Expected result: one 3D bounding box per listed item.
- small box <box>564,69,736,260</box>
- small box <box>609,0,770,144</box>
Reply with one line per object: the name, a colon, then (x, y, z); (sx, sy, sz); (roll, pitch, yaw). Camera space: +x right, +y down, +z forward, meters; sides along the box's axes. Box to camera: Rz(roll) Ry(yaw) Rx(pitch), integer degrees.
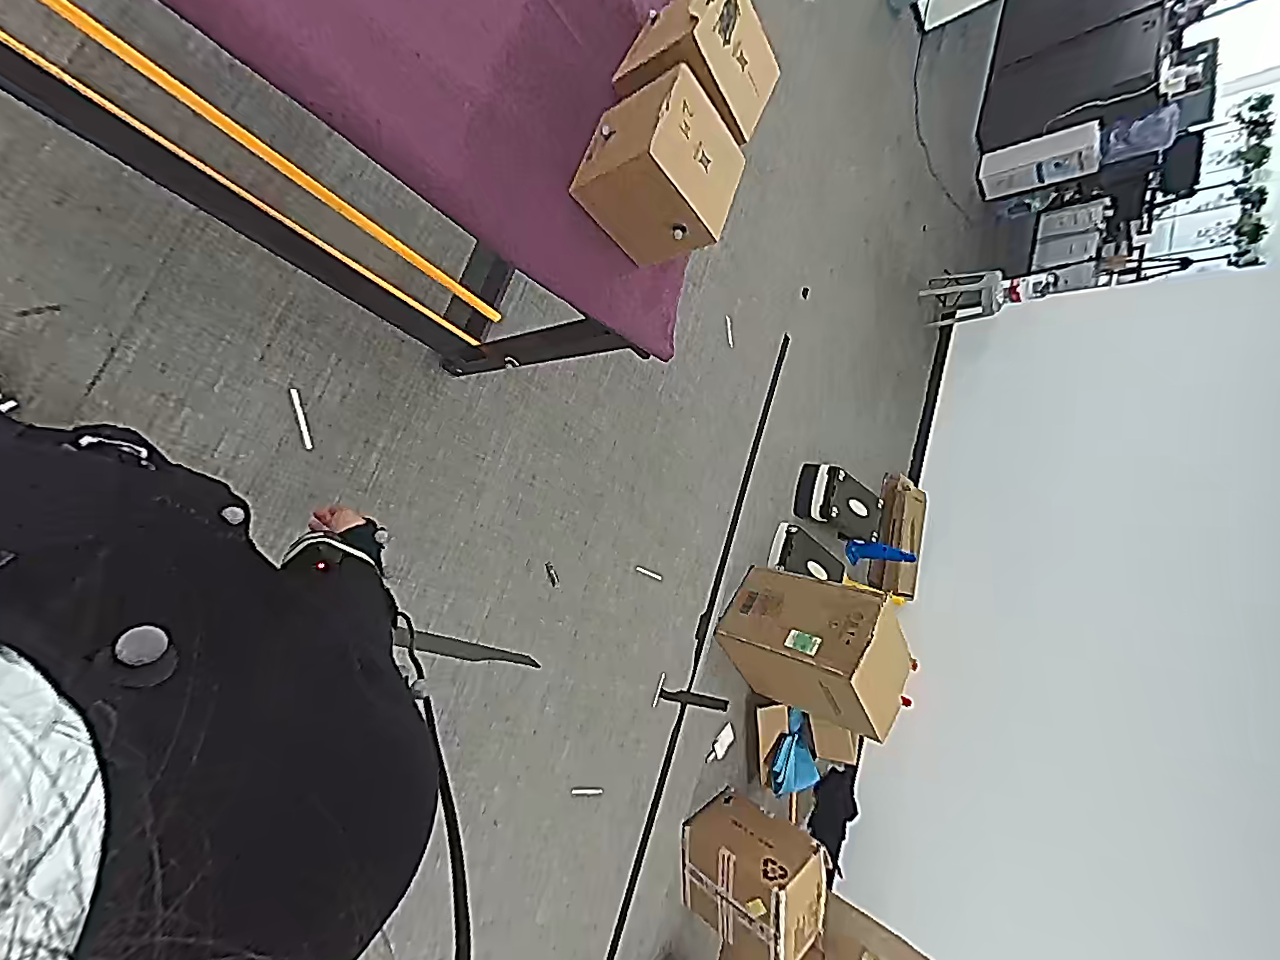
small box: (0.017, -0.468, 0.839); (0.179, 0.176, 0.168); (33, 69, -42)
small box: (0.080, -0.653, 0.885); (0.179, 0.176, 0.168); (40, 68, -42)
